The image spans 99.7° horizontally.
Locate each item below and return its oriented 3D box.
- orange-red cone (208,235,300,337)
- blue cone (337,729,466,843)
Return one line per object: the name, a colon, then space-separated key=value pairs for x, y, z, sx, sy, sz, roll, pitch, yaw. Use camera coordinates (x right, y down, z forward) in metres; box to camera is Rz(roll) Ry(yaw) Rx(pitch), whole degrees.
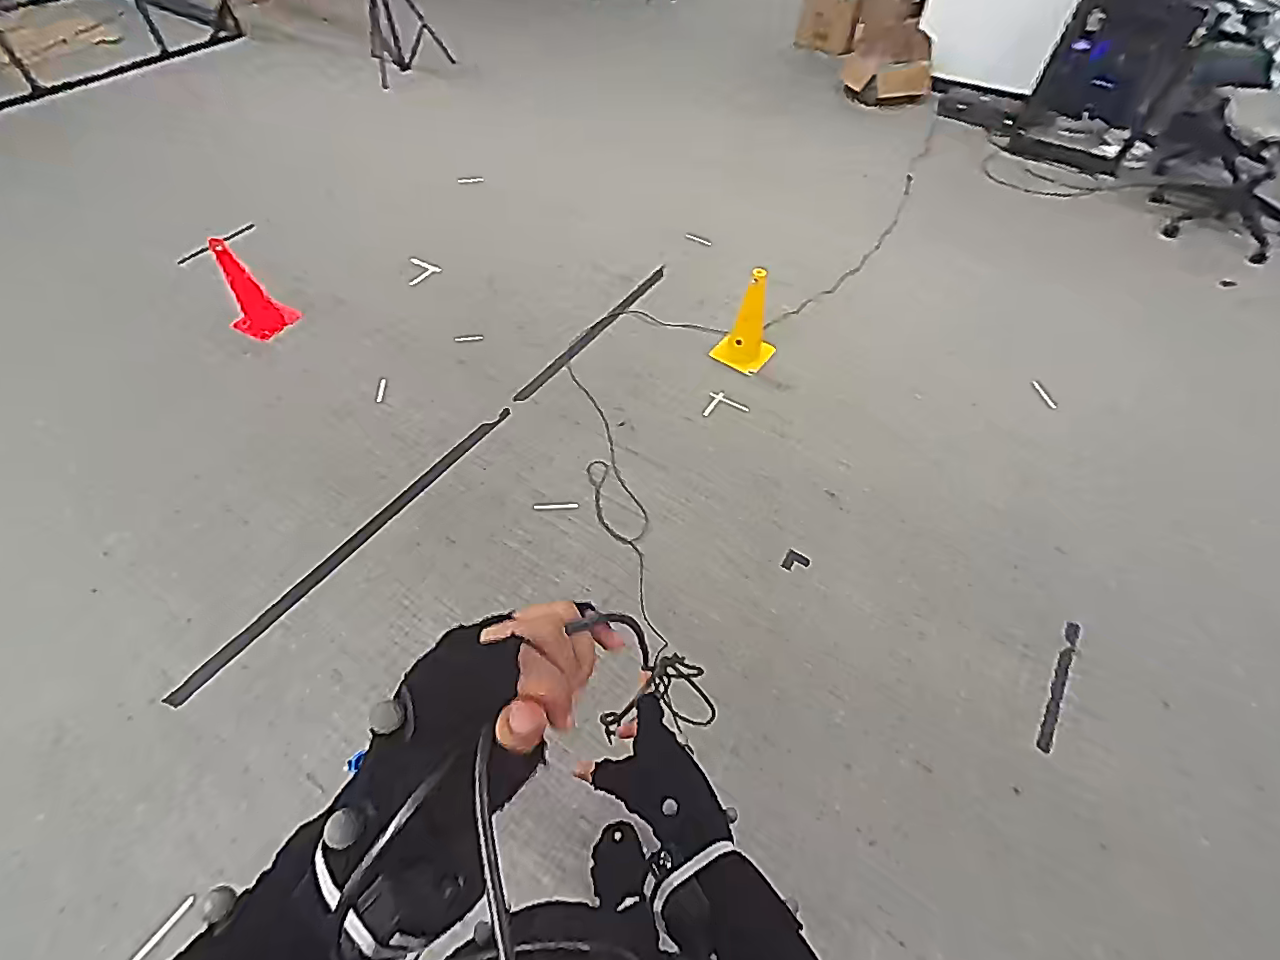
orange-red cone: x=-1.528 y=-0.765 z=2.079 sx=0.198 sy=0.360 sz=0.199 roll=25 pitch=59 yaw=17
blue cone: x=-0.518 y=0.607 z=1.115 sx=0.192 sy=0.380 sz=0.193 roll=25 pitch=58 yaw=16
